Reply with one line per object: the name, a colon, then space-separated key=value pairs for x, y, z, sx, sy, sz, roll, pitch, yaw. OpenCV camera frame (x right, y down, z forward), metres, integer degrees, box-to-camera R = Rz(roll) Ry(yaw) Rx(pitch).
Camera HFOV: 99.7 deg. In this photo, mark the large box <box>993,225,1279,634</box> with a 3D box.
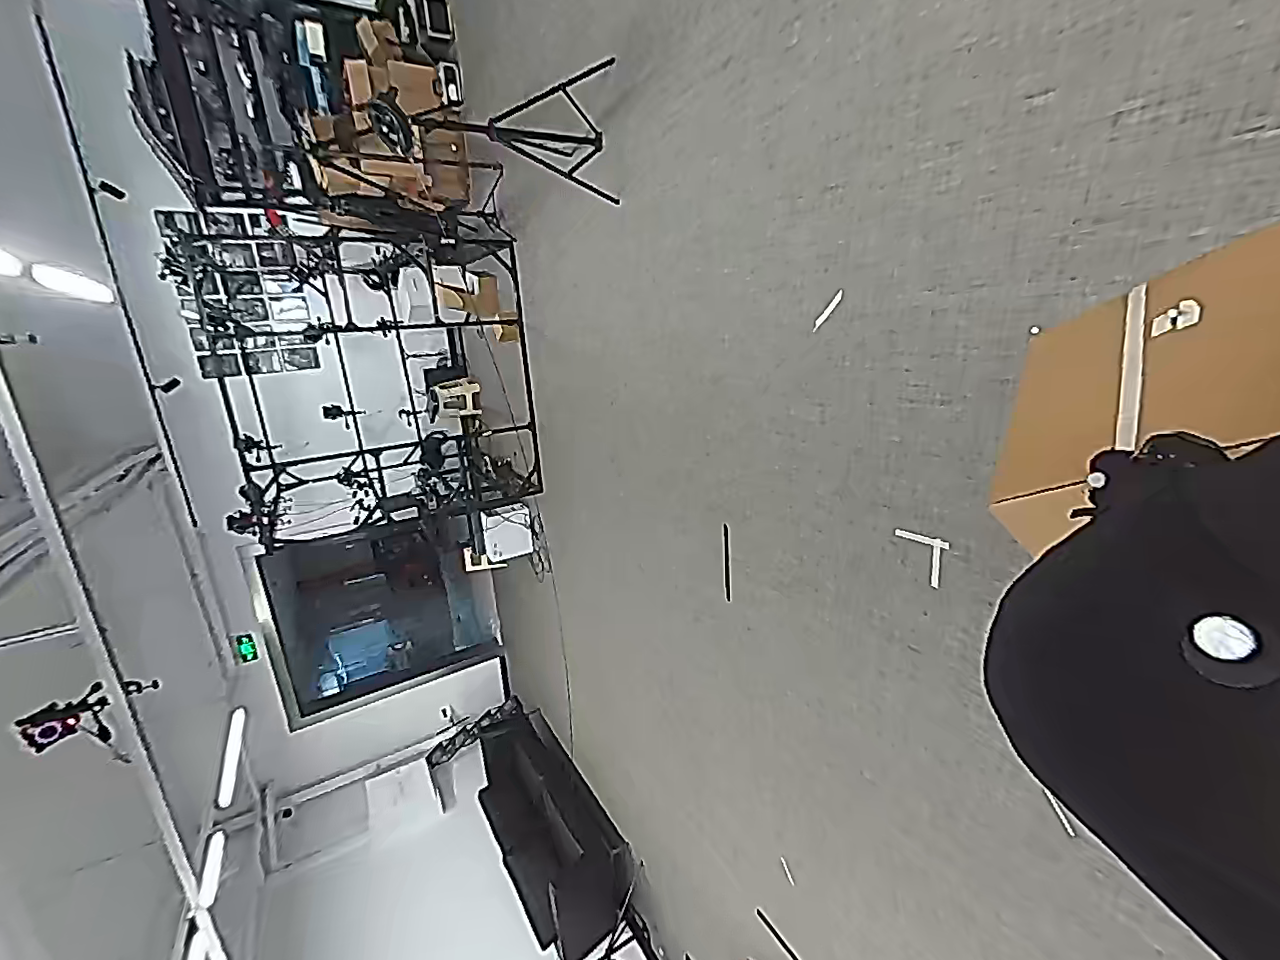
large box: x=0.761 y=-0.051 z=0.735 sx=0.320 sy=0.408 sz=0.320 roll=43 pitch=150 yaw=-10
